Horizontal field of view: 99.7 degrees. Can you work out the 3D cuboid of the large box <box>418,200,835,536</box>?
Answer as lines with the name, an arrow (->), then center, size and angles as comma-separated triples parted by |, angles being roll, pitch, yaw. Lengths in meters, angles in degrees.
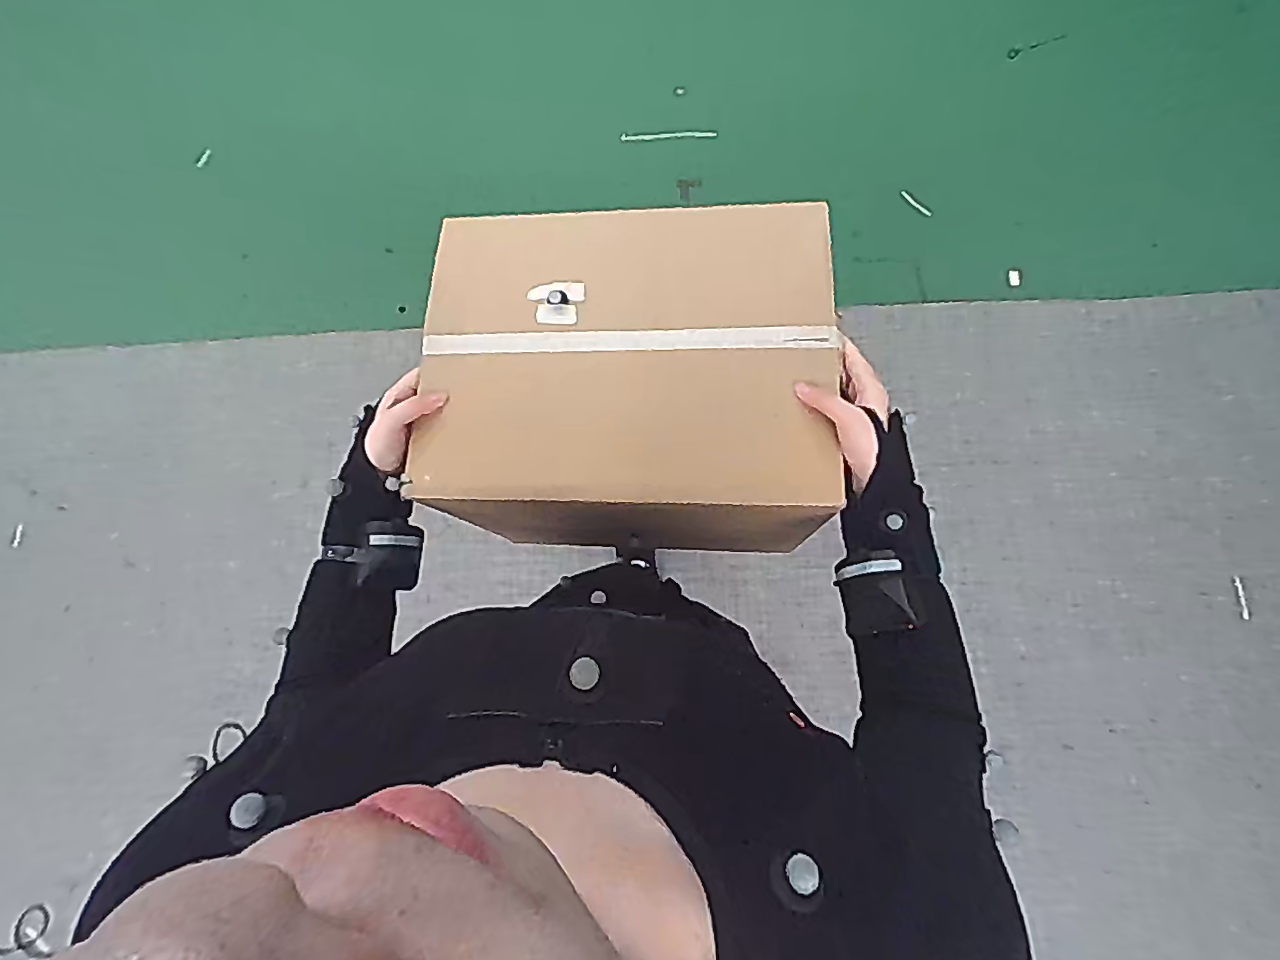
large box -> 0.004, -0.101, 0.681 | 0.408, 0.320, 0.320 | 1, 76, 8
